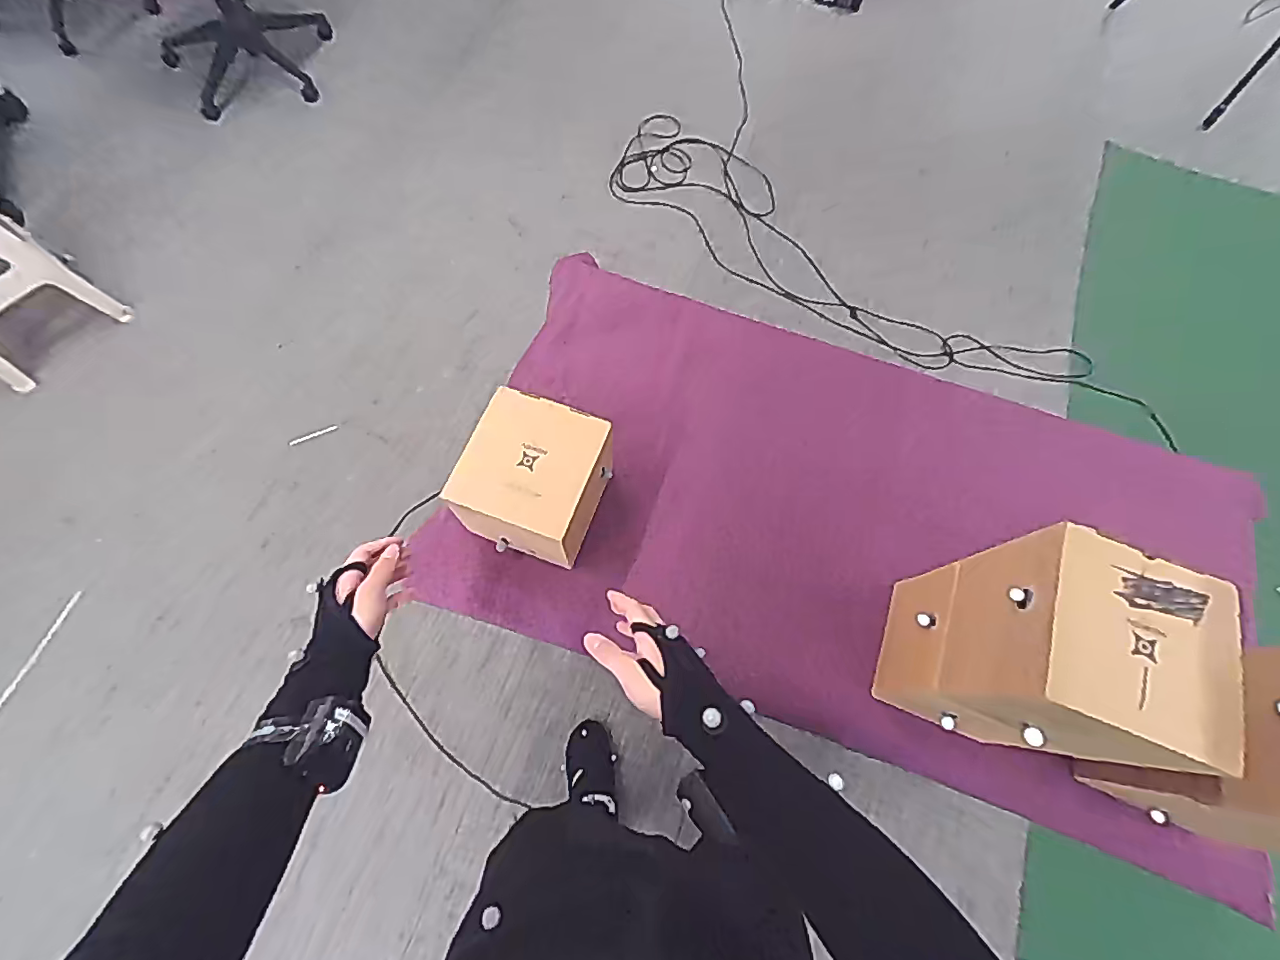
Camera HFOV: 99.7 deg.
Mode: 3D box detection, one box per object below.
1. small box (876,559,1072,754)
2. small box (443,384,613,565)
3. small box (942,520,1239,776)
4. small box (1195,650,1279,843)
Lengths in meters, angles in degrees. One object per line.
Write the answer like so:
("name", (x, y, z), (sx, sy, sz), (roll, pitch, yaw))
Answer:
("small box", (0.434, 0.231, 0.710), (0.168, 0.176, 0.179), (22, 68, 6))
("small box", (-0.146, 0.000, 0.766), (0.168, 0.176, 0.179), (20, 69, 5))
("small box", (0.444, 0.170, 0.557), (0.168, 0.176, 0.179), (22, 69, 6))
("small box", (0.704, 0.276, 0.526), (0.168, 0.176, 0.179), (23, 69, 7))
